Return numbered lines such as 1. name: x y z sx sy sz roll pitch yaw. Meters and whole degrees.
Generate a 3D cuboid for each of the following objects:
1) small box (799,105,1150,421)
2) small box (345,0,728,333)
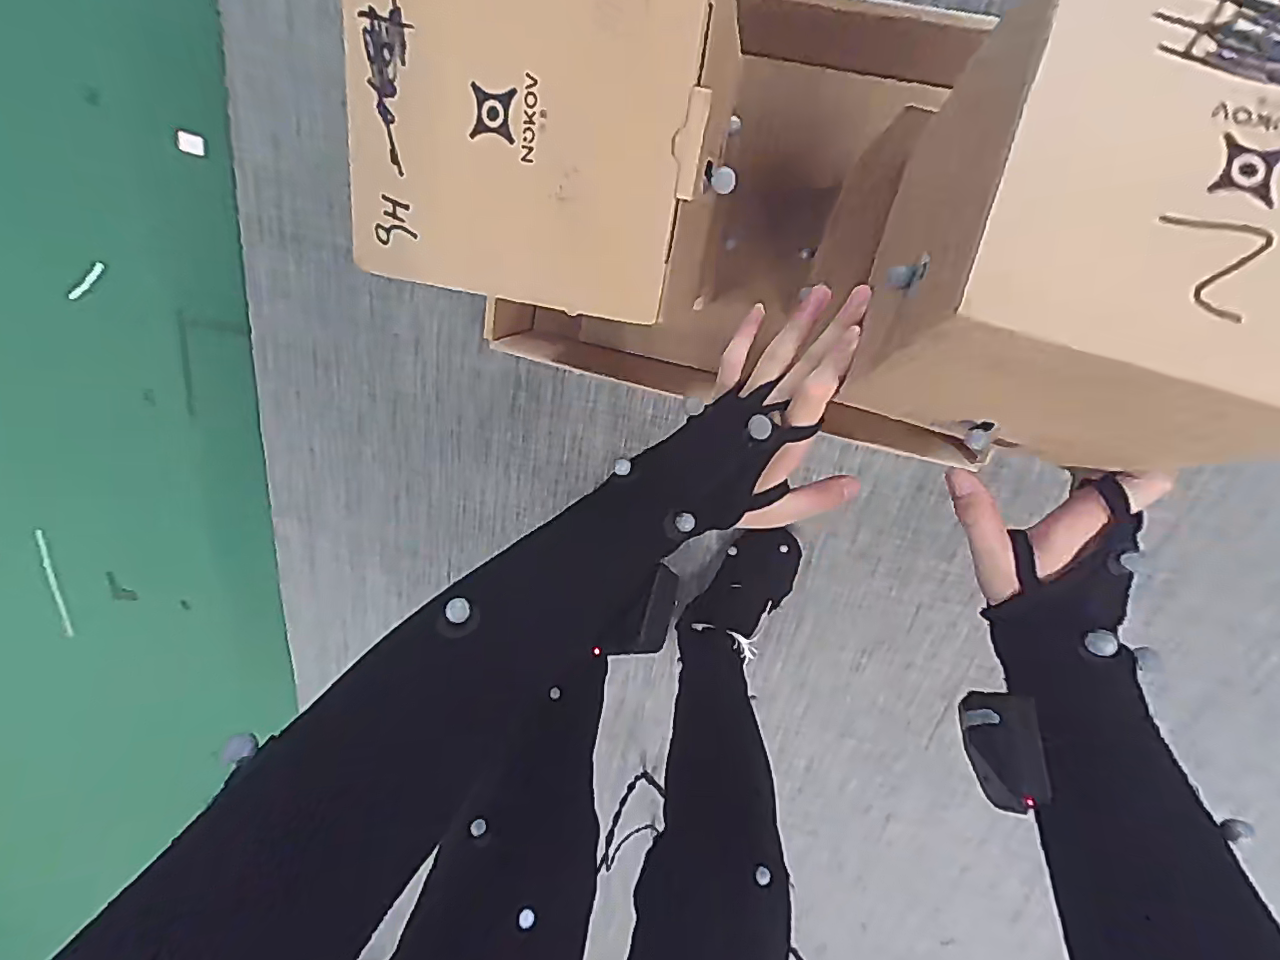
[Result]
1. small box: 0.243 -0.173 0.456 0.168 0.176 0.179 18 113 4
2. small box: -0.047 -0.198 0.335 0.179 0.176 0.168 13 112 7
